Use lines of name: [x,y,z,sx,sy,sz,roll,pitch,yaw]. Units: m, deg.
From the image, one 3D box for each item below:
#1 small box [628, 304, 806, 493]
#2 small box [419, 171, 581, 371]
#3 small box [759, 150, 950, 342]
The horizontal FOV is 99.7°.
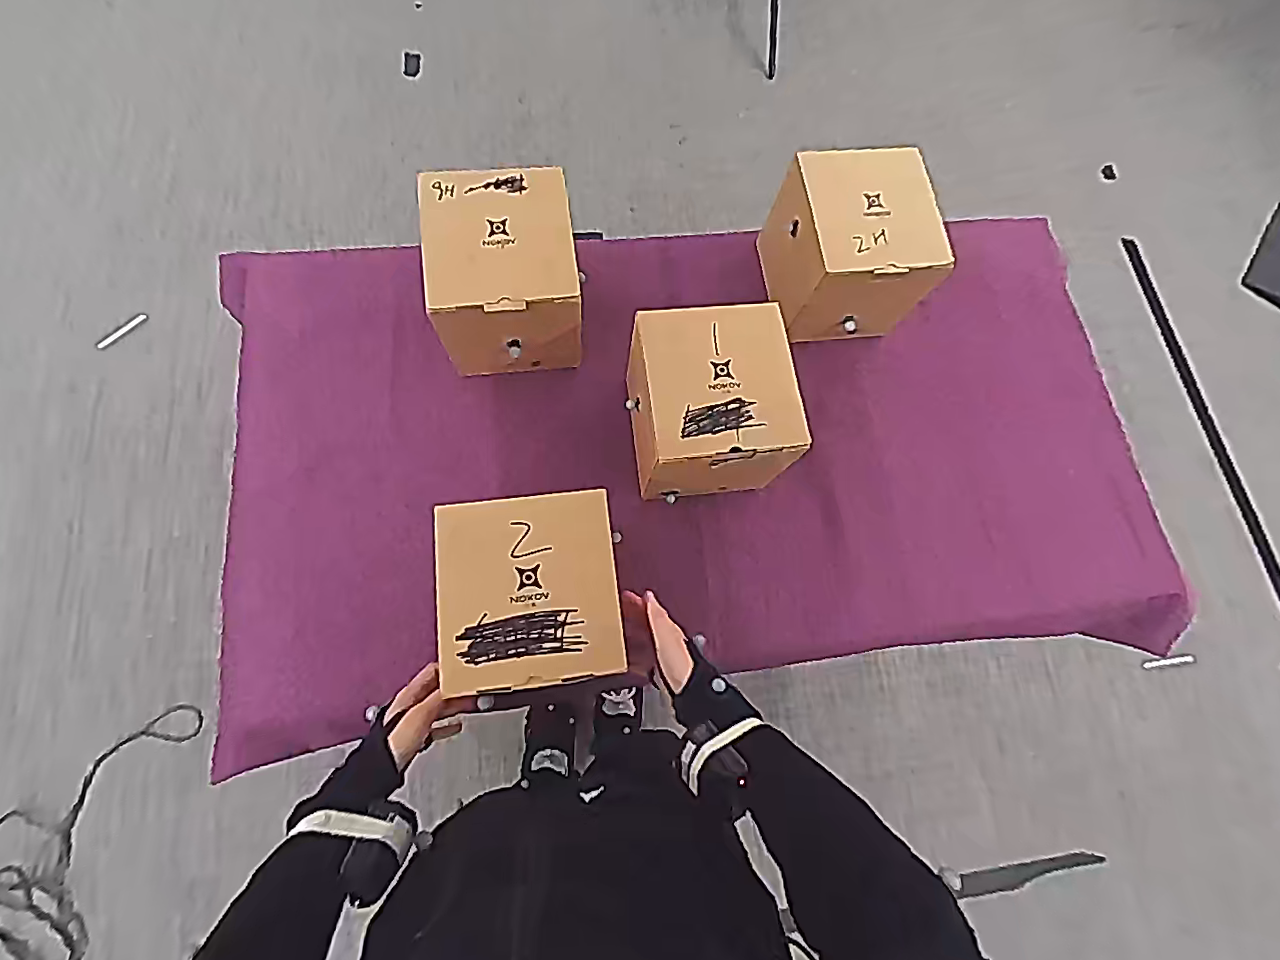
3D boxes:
small box: [0.079,-0.088,0.658,0.168,0.176,0.179,-6,74,-7]
small box: [-0.165,-0.248,0.677,0.168,0.176,0.179,-7,77,-8]
small box: [0.275,-0.311,0.737,0.168,0.176,0.179,-7,76,-6]
